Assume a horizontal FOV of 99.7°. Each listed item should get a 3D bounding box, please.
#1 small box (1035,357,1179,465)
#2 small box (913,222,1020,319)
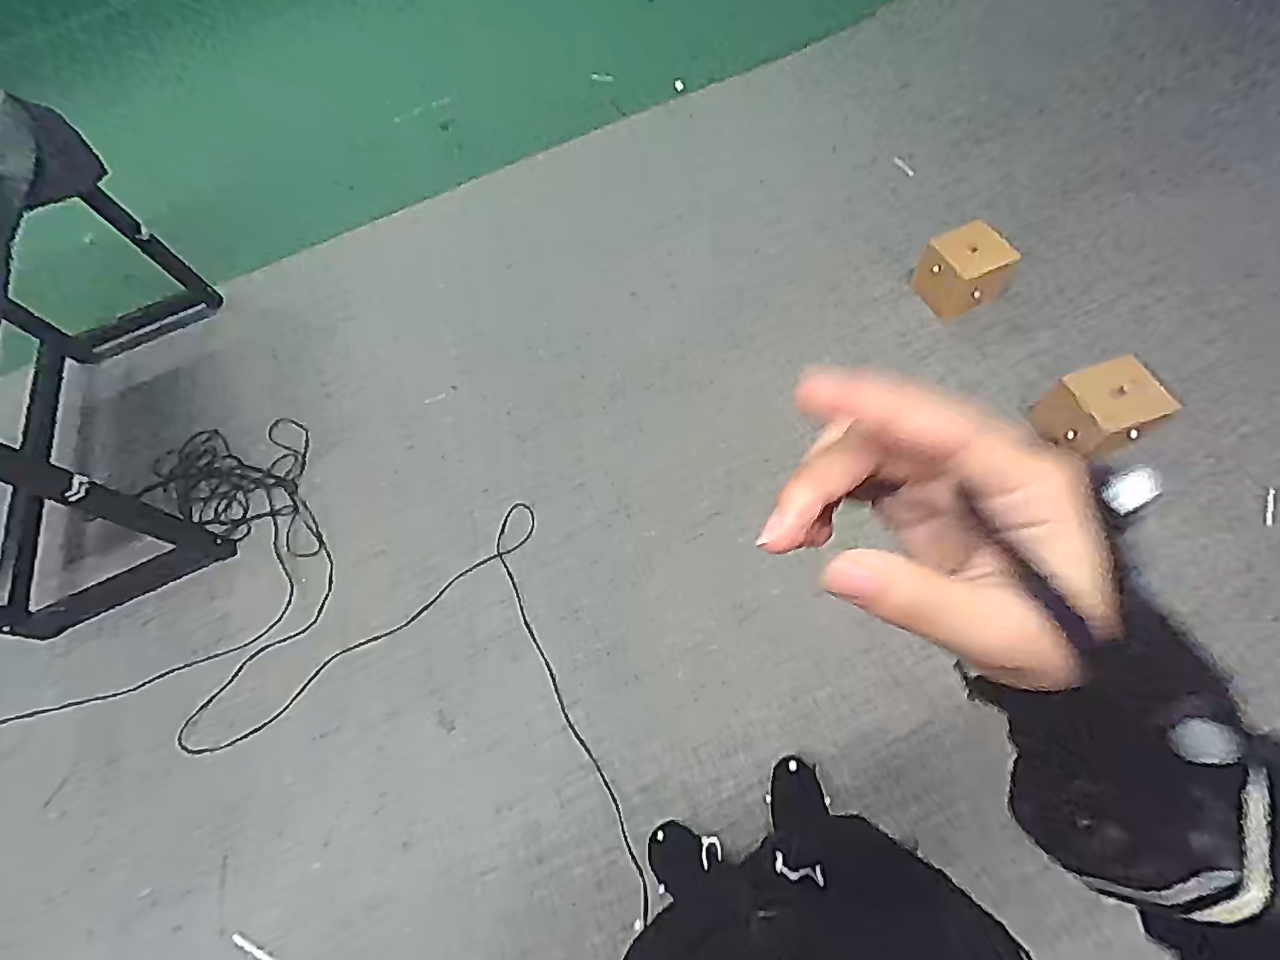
[{"bbox_3d":[1.096,-0.158,1.295,0.179,0.176,0.168,-18,64,-1],"label":"small box"},{"bbox_3d":[0.918,-0.585,1.538,0.168,0.176,0.179,-22,62,-2],"label":"small box"}]
